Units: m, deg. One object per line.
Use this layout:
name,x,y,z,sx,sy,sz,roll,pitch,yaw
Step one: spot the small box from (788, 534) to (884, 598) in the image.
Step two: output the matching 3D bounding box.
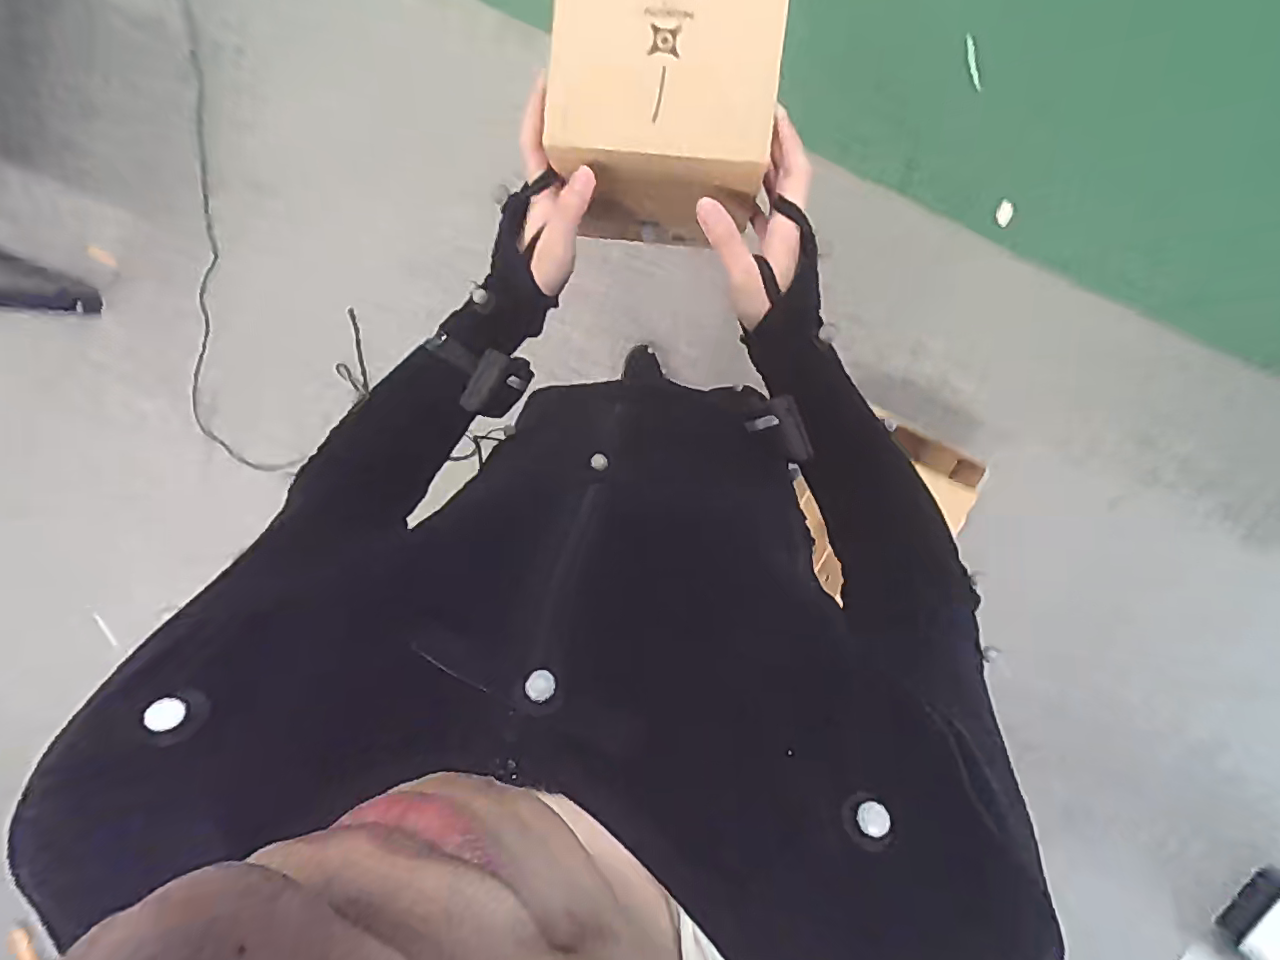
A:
small box,0.543,0.269,1.530,0.179,0.176,0.168,27,102,-3

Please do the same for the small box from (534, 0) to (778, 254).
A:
small box,0.016,-0.319,0.466,0.168,0.176,0.179,6,94,3
